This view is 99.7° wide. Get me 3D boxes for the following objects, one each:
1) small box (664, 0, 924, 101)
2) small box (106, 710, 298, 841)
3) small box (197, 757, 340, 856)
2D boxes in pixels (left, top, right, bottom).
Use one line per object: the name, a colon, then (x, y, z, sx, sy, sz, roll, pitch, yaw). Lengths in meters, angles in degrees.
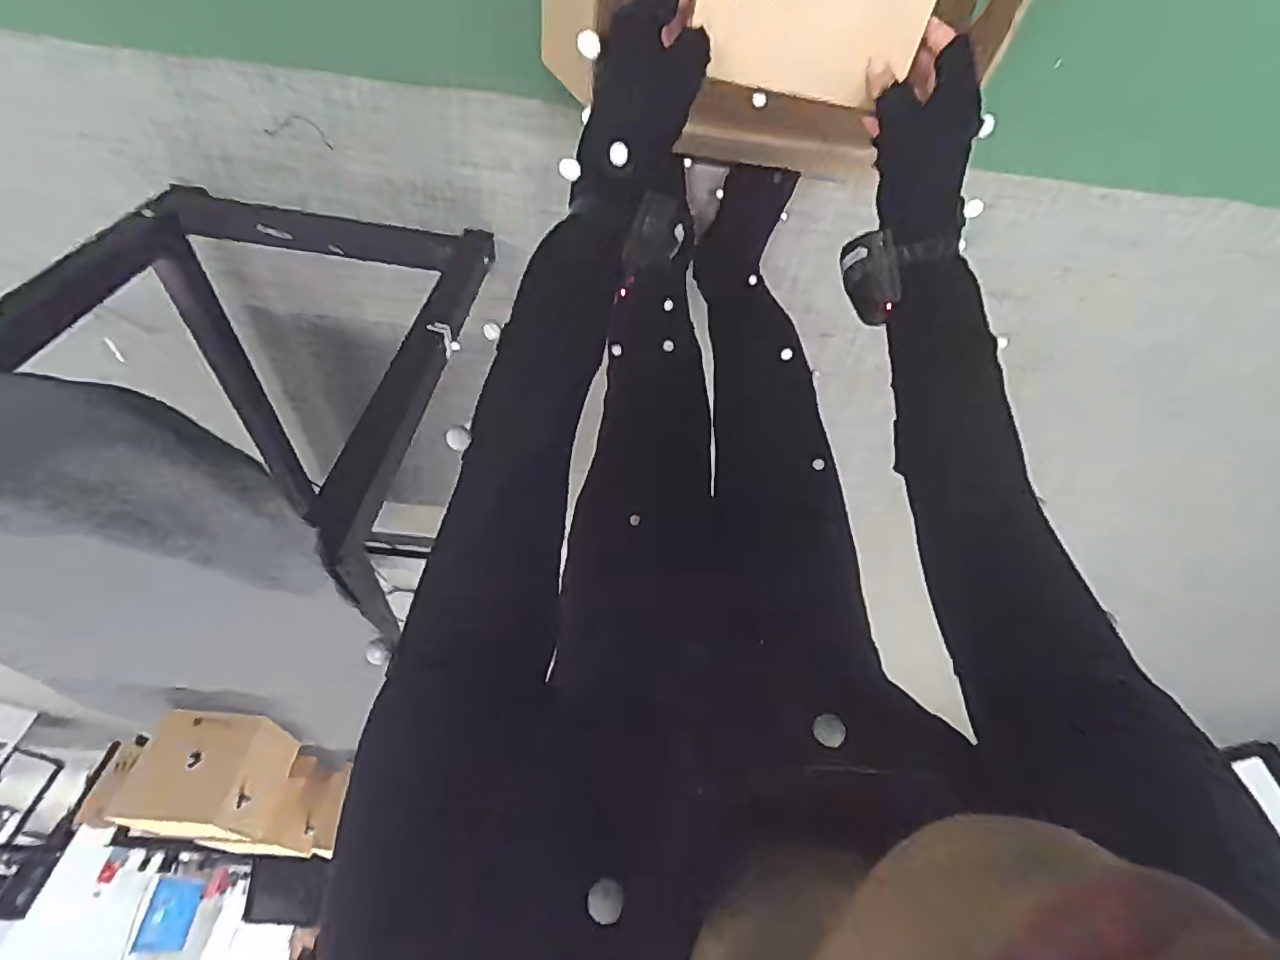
small box: (0.120, -0.421, 0.426, 0.179, 0.176, 0.168, 5, 131, -8)
small box: (-0.743, 0.516, 0.945, 0.168, 0.176, 0.179, 6, 140, -2)
small box: (-0.784, 0.696, 1.164, 0.168, 0.176, 0.179, 5, 140, -2)
